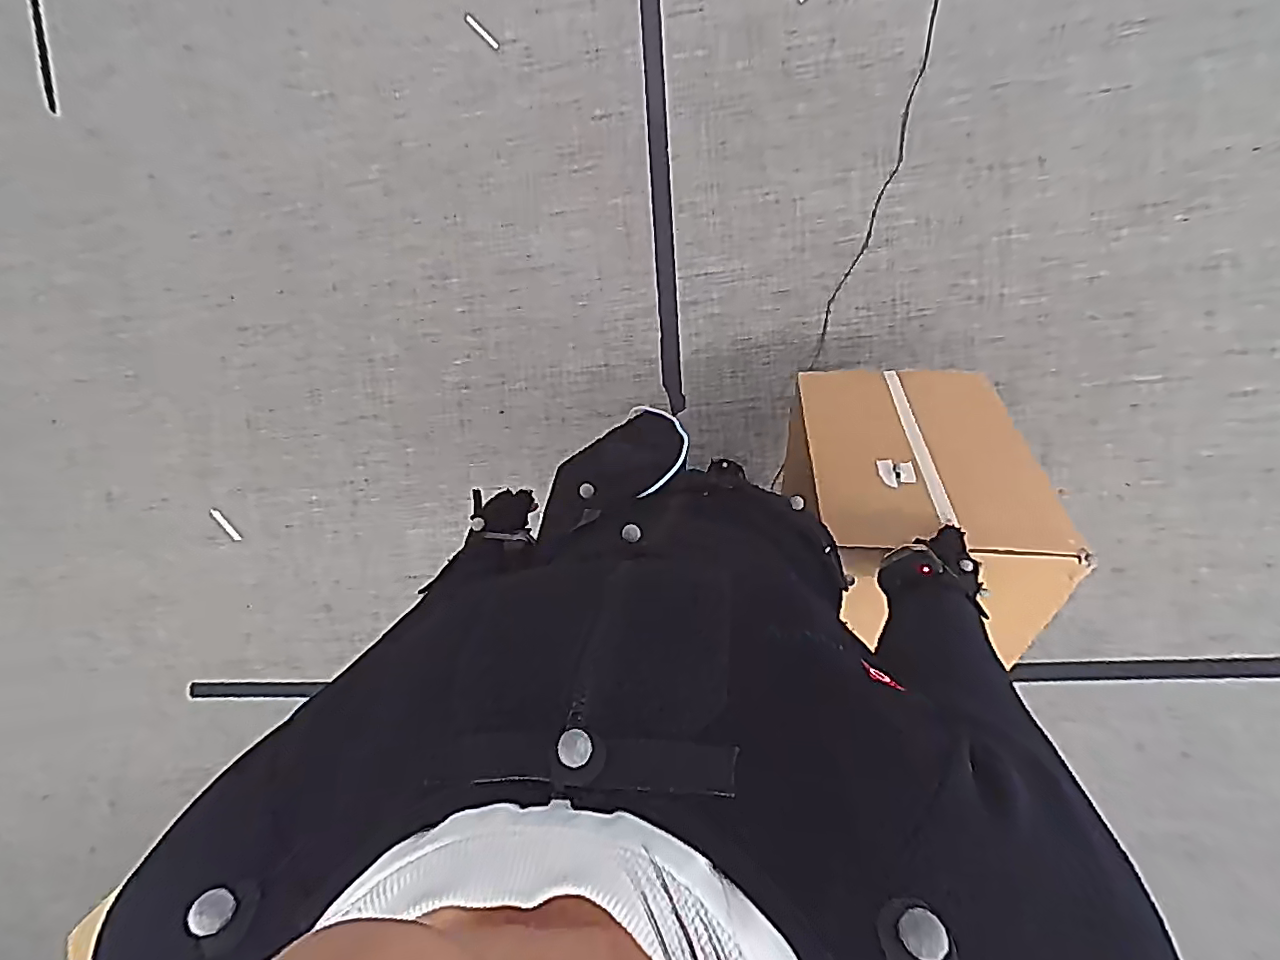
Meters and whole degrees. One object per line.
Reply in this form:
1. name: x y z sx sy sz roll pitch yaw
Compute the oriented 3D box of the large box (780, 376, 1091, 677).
1. large box: 0.425 0.065 0.913 0.320 0.408 0.320 1 134 8
